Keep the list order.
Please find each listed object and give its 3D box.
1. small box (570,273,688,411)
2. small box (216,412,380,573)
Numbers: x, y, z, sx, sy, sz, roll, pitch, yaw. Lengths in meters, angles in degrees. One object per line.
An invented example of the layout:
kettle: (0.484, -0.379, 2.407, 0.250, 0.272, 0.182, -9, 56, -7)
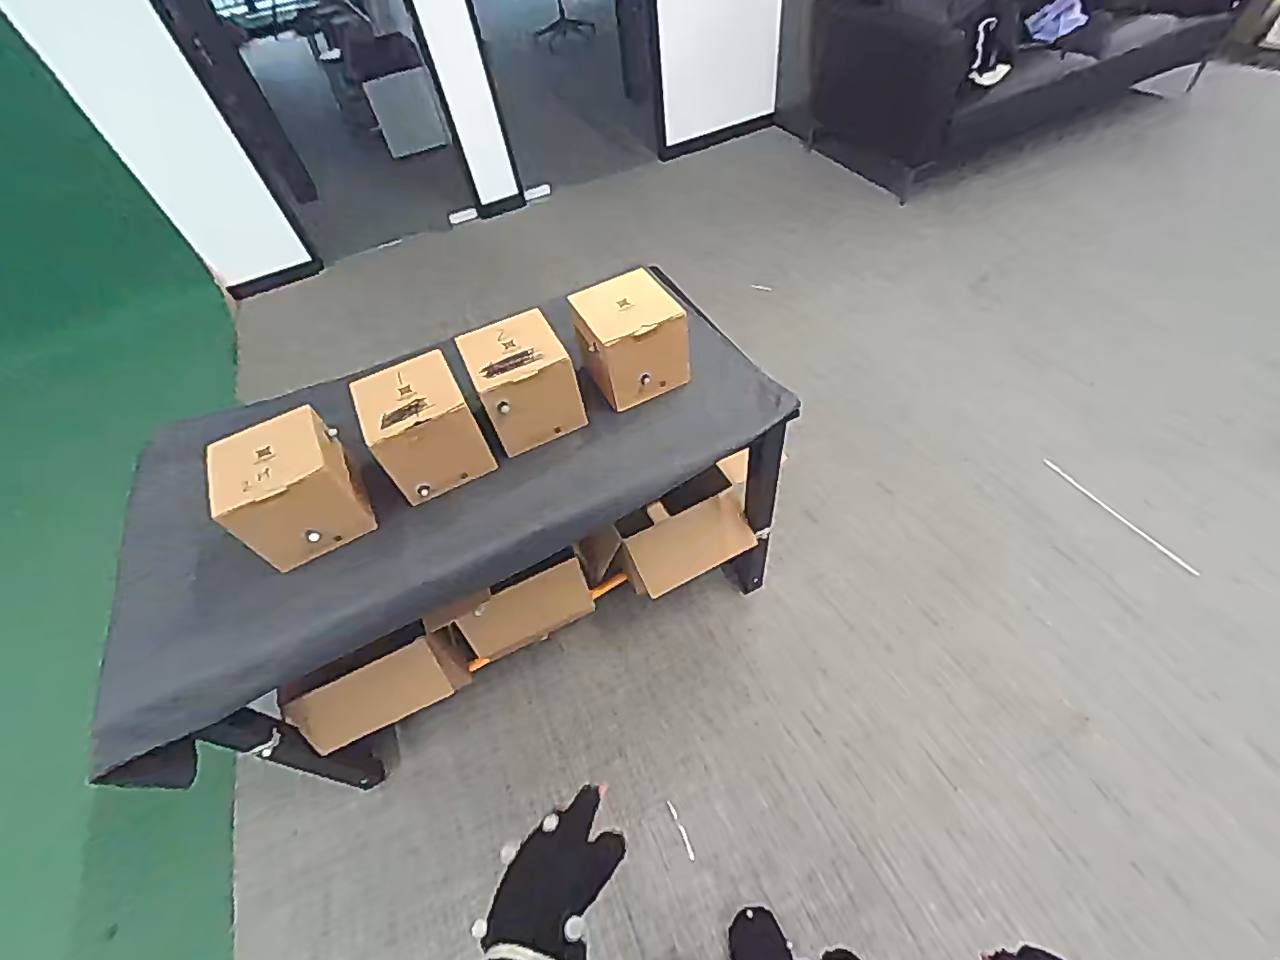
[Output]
small box: (-0.019, -0.268, 1.059, 0.168, 0.176, 0.179, -26, 54, -11)
small box: (-0.572, 0.023, 0.914, 0.168, 0.176, 0.179, -29, 54, -13)
